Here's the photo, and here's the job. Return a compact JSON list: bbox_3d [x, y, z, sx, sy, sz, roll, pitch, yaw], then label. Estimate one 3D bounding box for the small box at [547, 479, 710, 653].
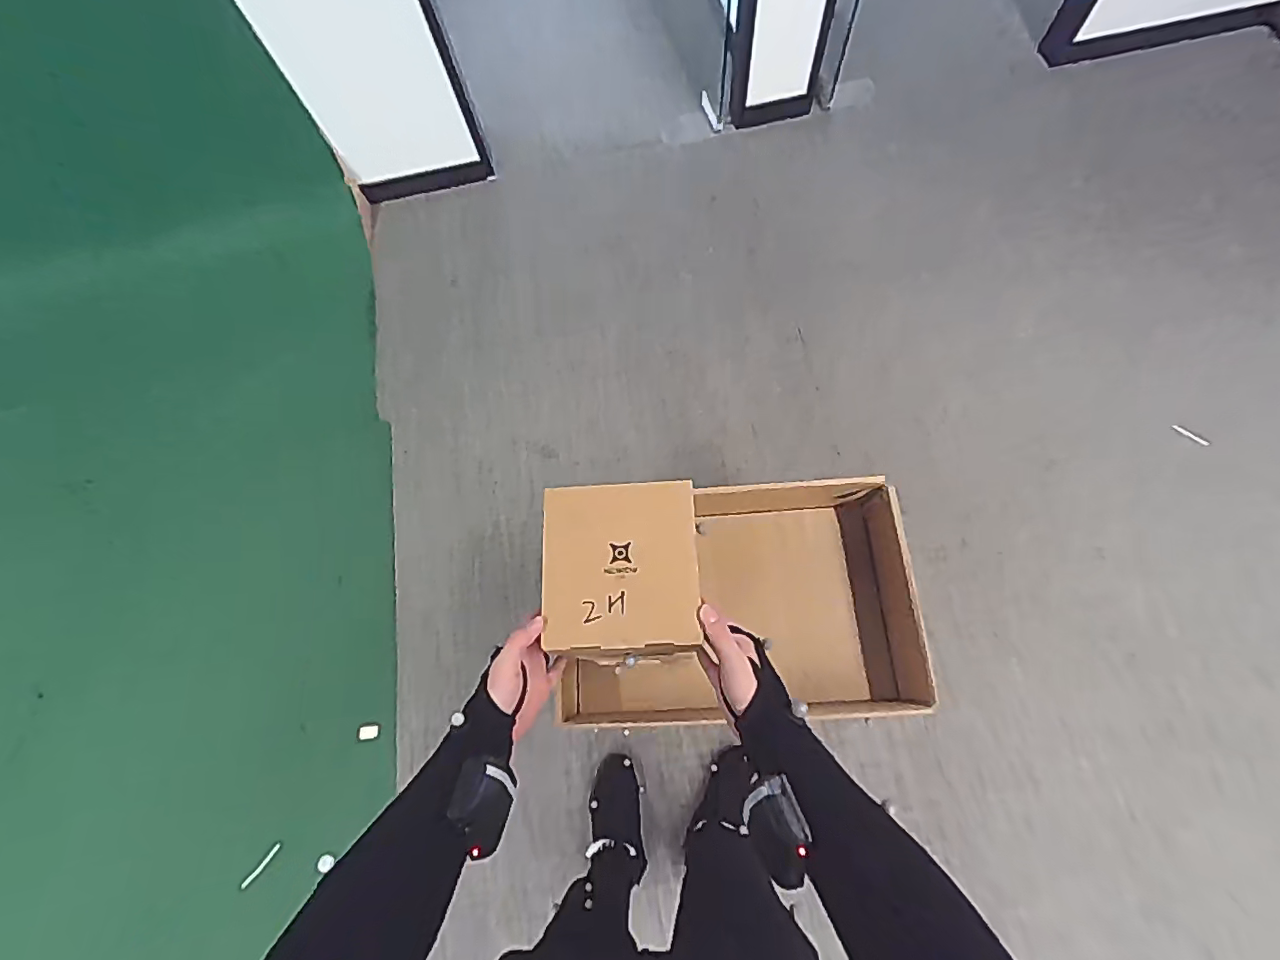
[{"bbox_3d":[-0.010,0.109,0.638,0.168,0.176,0.179,-3,72,2],"label":"small box"}]
